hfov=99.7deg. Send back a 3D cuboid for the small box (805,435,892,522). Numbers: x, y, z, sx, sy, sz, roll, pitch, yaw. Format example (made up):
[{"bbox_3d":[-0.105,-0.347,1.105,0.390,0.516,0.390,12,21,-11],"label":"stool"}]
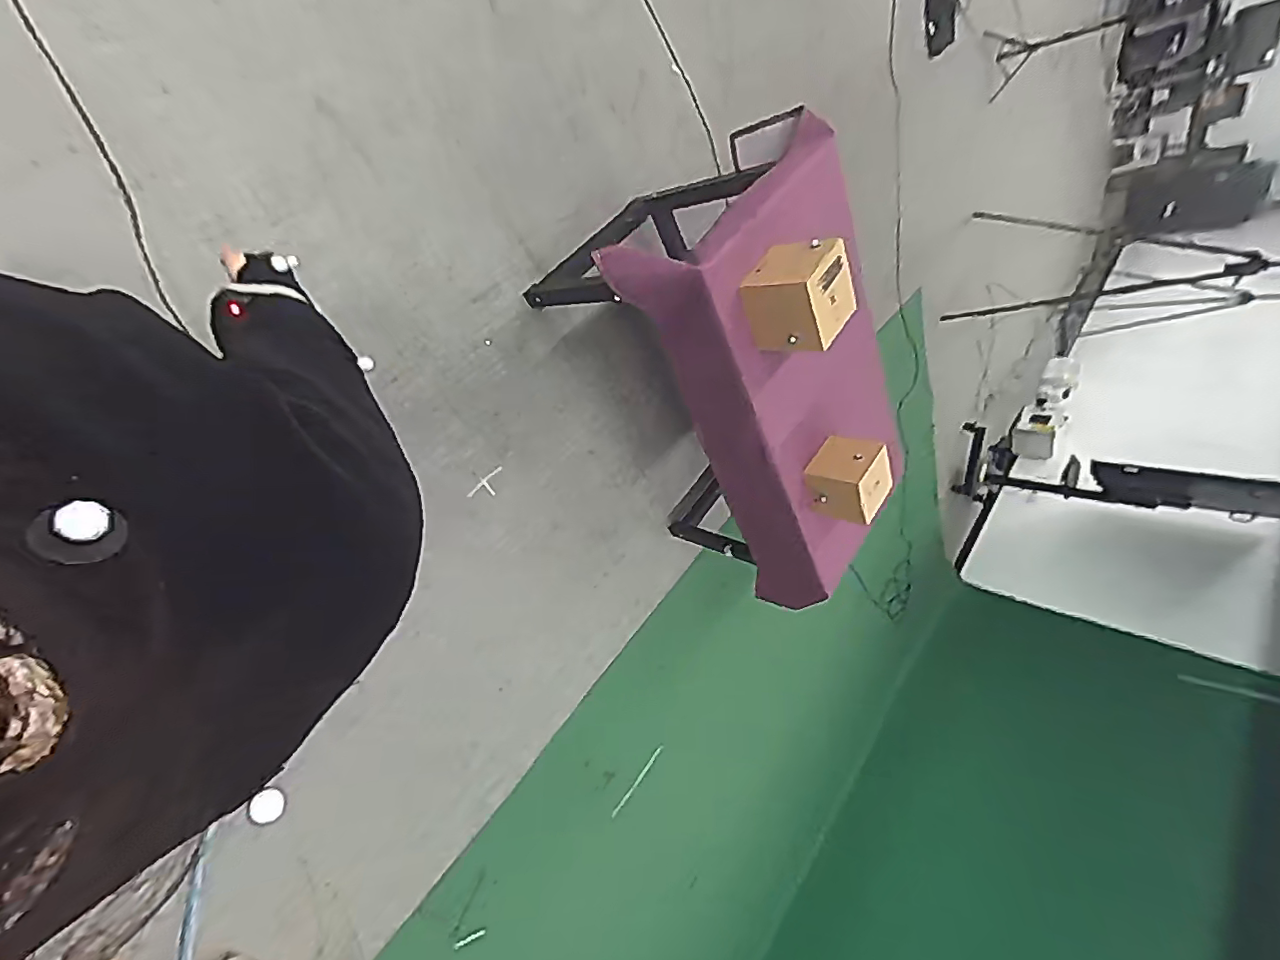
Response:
[{"bbox_3d":[0.601,-0.012,1.558,0.179,0.176,0.168,-47,129,-24],"label":"small box"}]
